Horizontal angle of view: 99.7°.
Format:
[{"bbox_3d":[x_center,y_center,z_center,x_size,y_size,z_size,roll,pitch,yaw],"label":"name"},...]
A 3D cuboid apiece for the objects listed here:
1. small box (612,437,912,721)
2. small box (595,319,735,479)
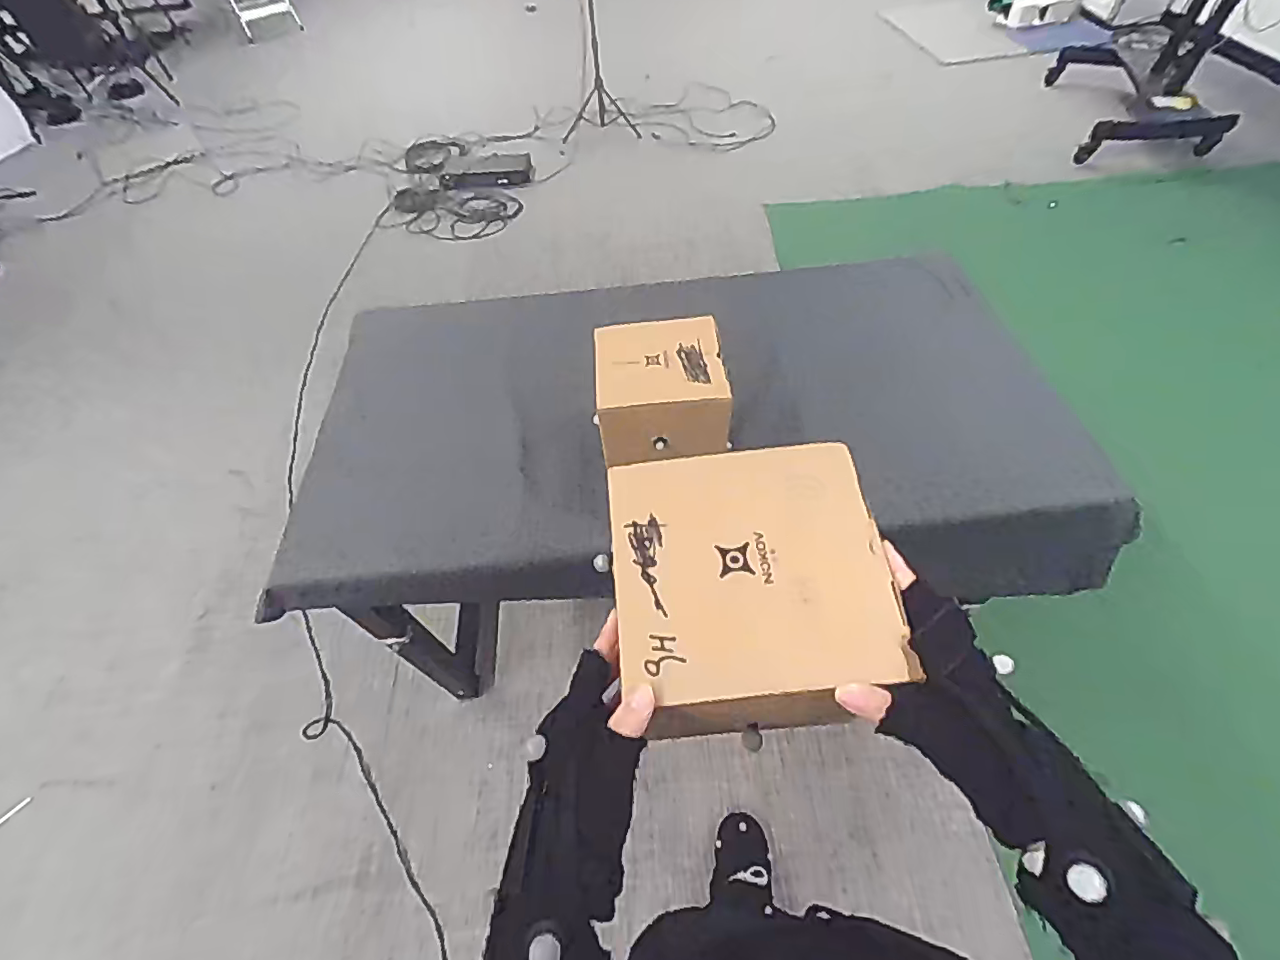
[{"bbox_3d":[0.072,0.085,0.427,0.179,0.176,0.168,-5,58,-1],"label":"small box"},{"bbox_3d":[0.031,-0.114,0.805,0.179,0.176,0.168,-7,55,-3],"label":"small box"}]
